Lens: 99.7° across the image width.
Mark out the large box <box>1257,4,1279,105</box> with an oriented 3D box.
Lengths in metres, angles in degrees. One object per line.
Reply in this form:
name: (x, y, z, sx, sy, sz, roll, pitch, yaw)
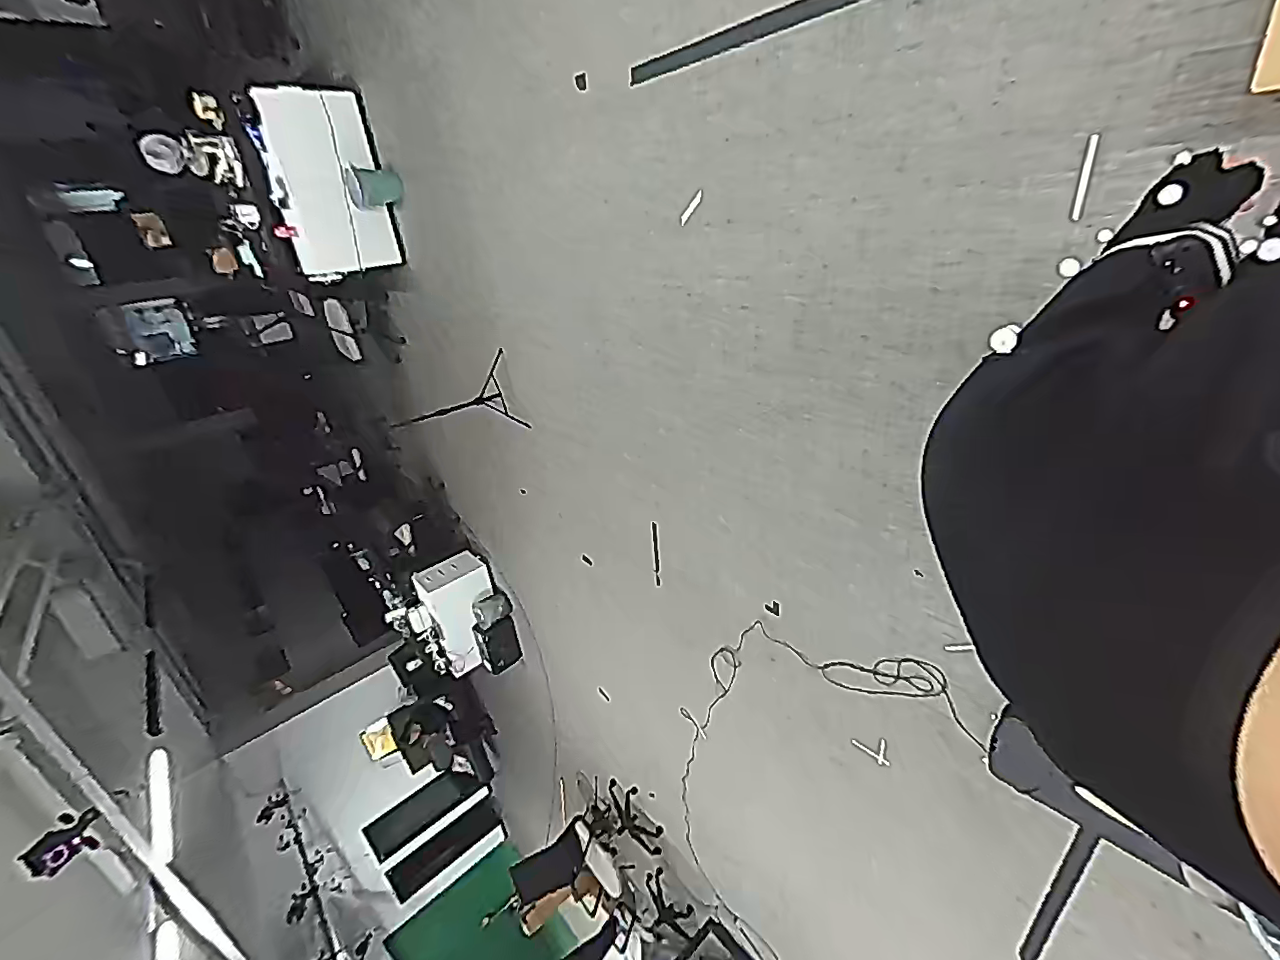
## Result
large box: (1.032, -0.653, 0.599, 0.408, 0.320, 0.320, 19, 127, 44)
